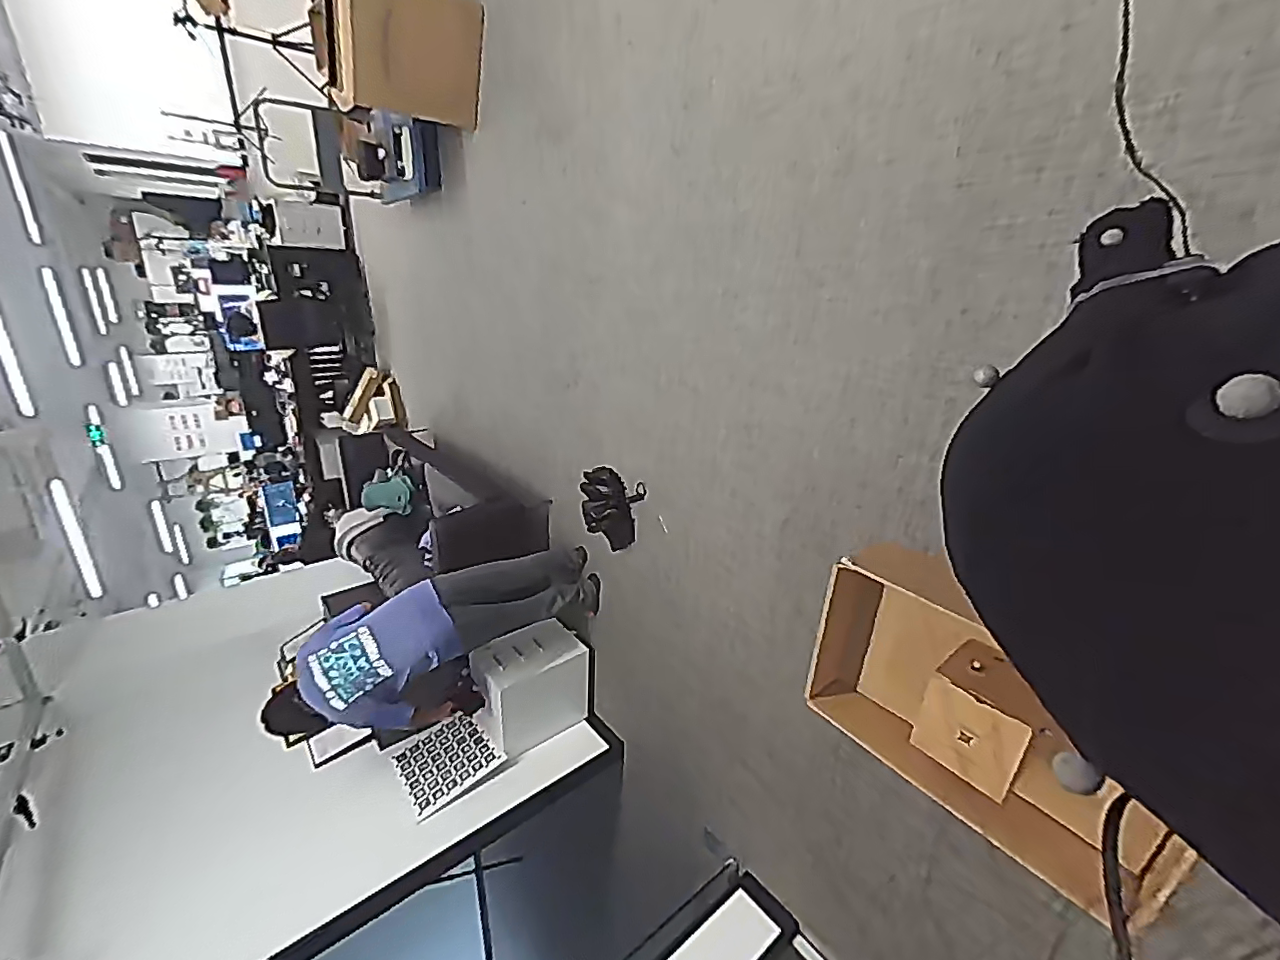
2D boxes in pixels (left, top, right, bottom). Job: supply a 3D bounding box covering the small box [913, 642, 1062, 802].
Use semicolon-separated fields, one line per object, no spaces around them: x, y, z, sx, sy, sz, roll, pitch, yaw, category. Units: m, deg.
0.642;0.433;1.000;0.168;0.176;0.179;27;125;47;small box
